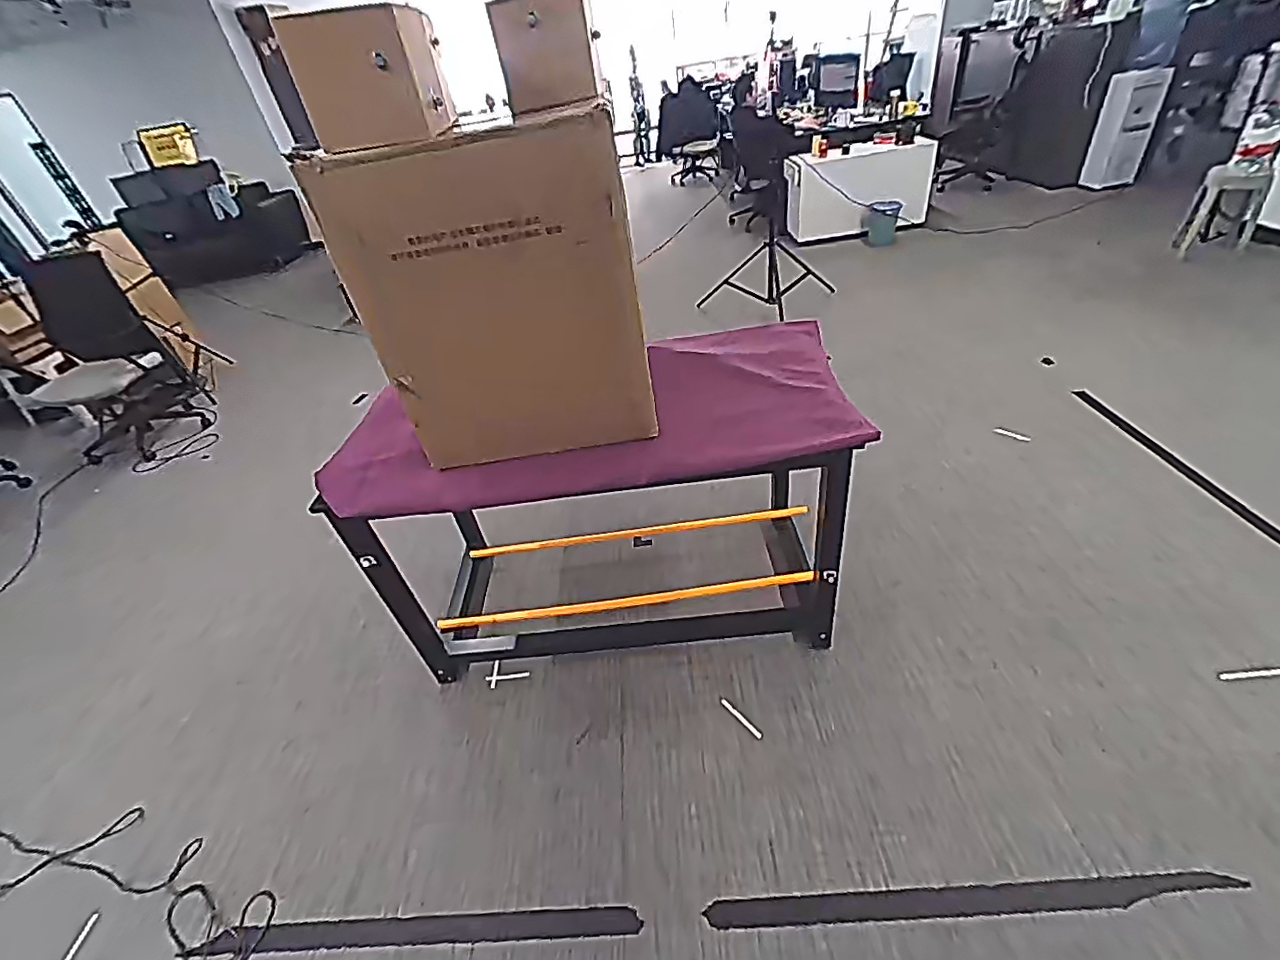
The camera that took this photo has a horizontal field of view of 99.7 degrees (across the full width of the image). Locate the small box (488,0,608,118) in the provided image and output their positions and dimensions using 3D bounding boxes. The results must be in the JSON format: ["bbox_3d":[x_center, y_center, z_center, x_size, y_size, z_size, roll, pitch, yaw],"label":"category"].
[{"bbox_3d":[-0.163,-0.813,1.033,0.179,0.176,0.168,-6,38,7],"label":"small box"}]
